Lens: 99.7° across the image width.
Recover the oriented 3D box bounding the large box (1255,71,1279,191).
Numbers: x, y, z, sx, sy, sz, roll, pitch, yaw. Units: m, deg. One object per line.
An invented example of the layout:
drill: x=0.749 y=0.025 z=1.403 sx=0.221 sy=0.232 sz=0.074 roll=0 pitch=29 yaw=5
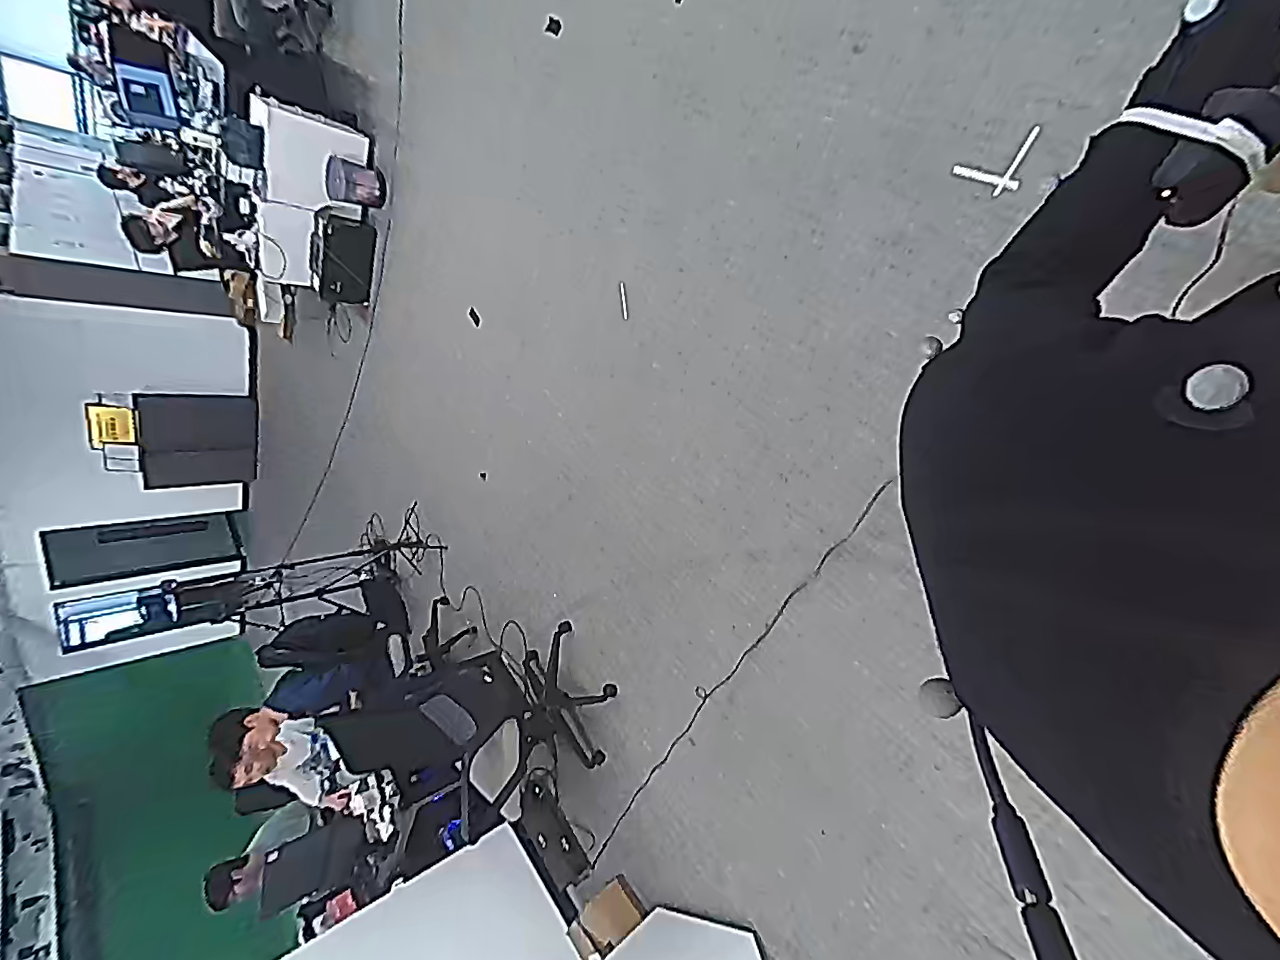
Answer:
large box: x=0.690 y=-0.299 z=0.275 sx=0.408 sy=0.320 sz=0.320 roll=42 pitch=127 yaw=33
